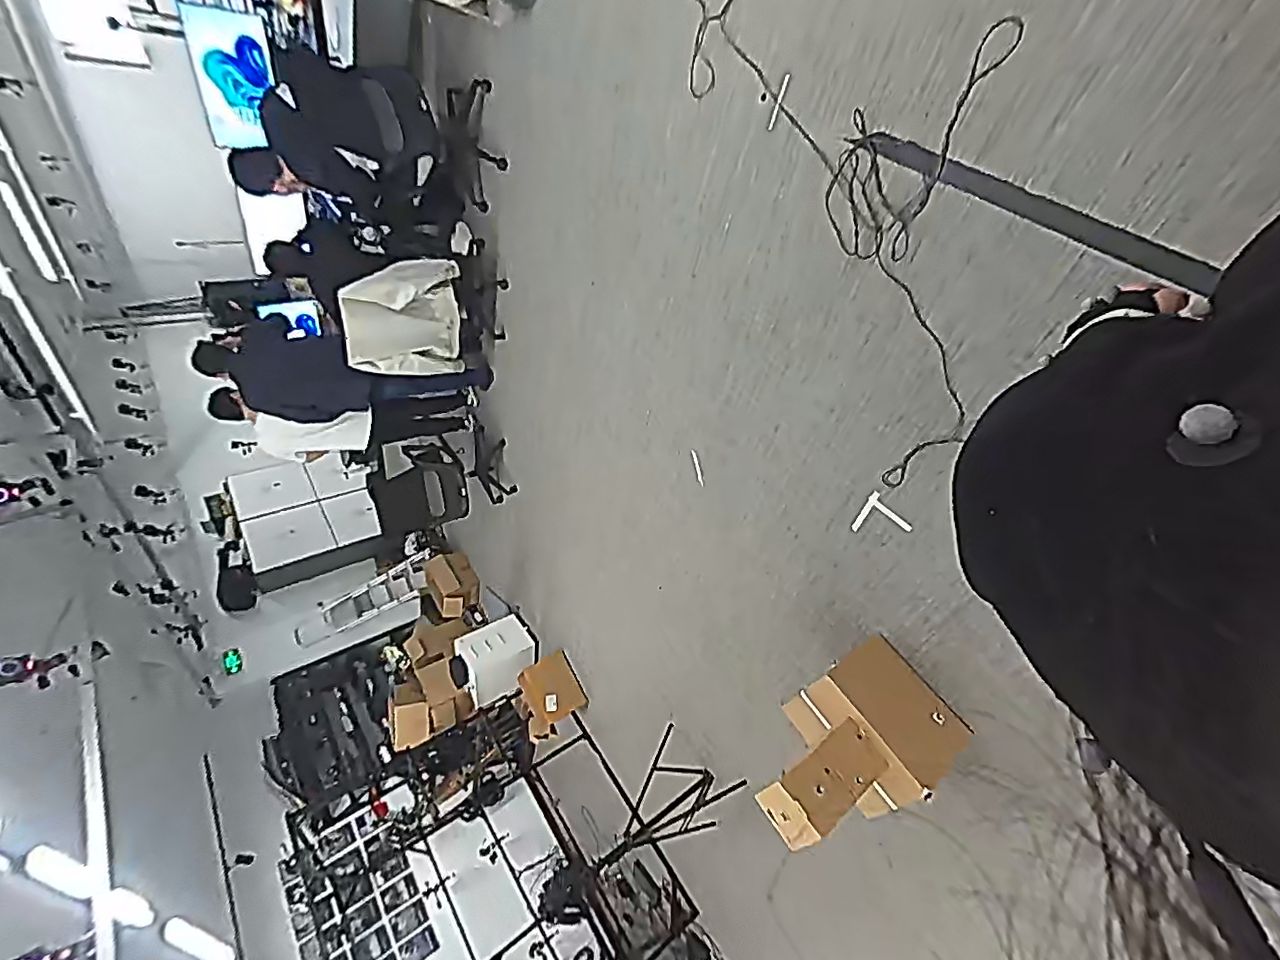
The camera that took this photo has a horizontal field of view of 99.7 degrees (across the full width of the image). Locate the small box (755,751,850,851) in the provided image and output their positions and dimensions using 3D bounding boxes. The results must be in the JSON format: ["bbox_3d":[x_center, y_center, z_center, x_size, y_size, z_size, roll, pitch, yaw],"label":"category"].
[{"bbox_3d":[0.468,0.909,1.542,0.168,0.176,0.179,51,141,26],"label":"small box"}]
